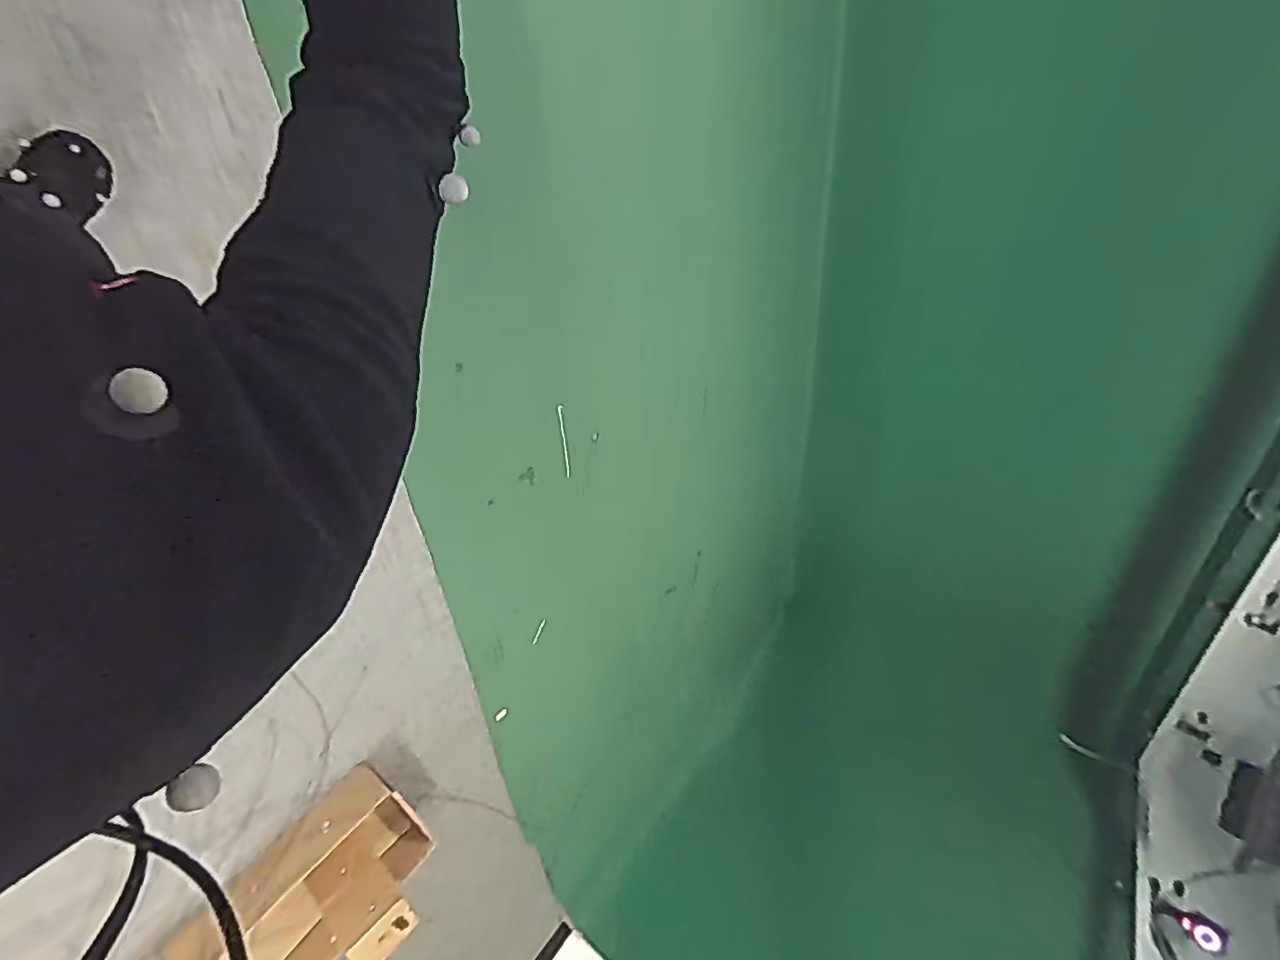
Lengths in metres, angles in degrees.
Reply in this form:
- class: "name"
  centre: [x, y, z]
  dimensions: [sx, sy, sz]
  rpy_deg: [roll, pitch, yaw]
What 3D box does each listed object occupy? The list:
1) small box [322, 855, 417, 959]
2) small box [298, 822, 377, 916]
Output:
- class: "small box"
  centre: [-0.805, 1.277, 1.610]
  dimensions: [0.179, 0.176, 0.168]
  rpy_deg: [-34, 130, -39]
- class: "small box"
  centre: [-0.933, 1.234, 1.702]
  dimensions: [0.179, 0.176, 0.168]
  rpy_deg: [-33, 129, -39]
